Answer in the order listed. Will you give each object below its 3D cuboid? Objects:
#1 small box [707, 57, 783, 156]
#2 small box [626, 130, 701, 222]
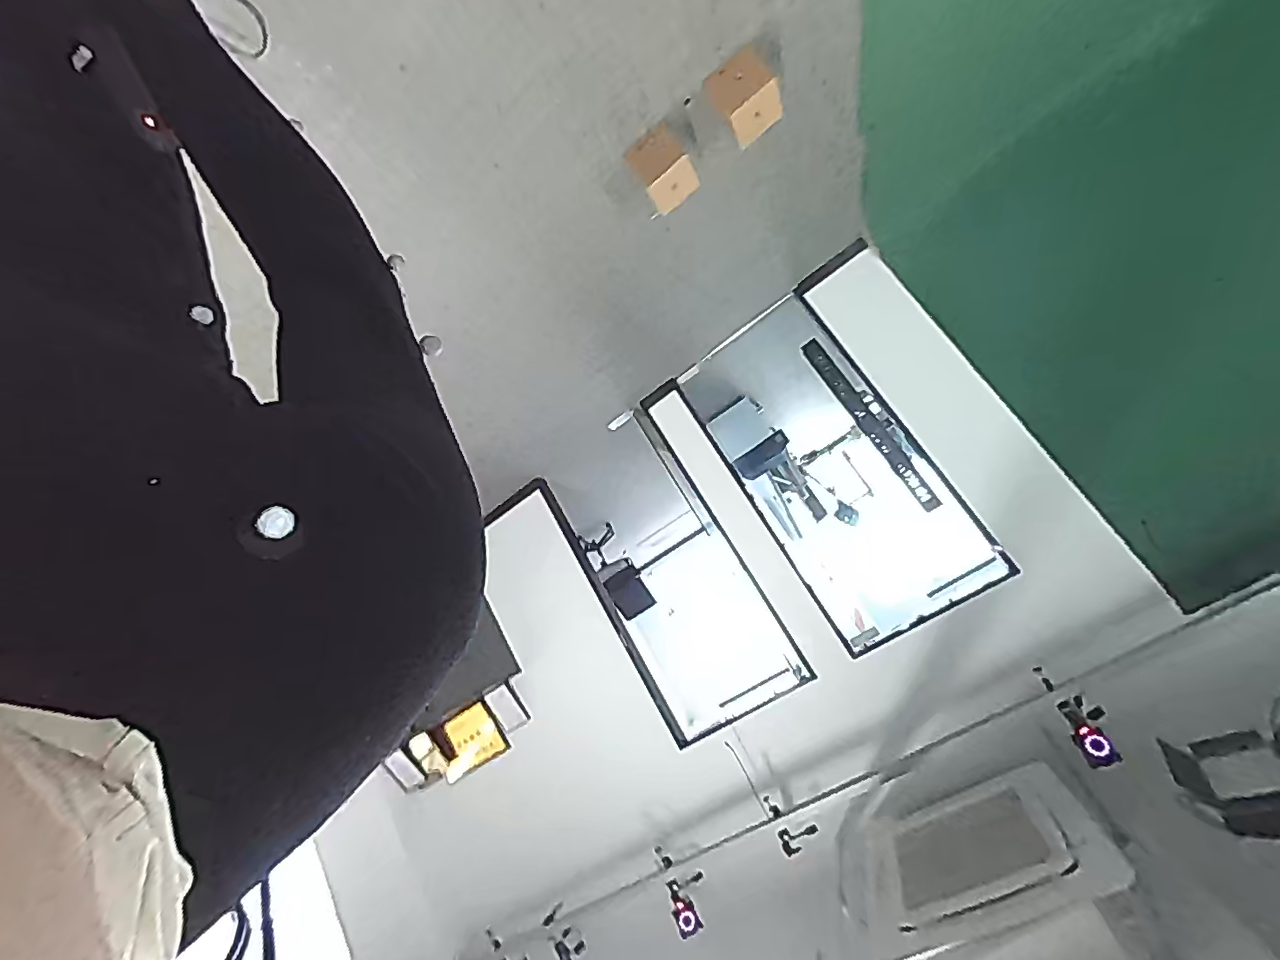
[{"bbox_3d":[0.339,-1.211,1.745,0.168,0.176,0.179,-35,164,15],"label":"small box"},{"bbox_3d":[0.080,-1.030,1.832,0.168,0.176,0.179,-36,163,15],"label":"small box"}]
